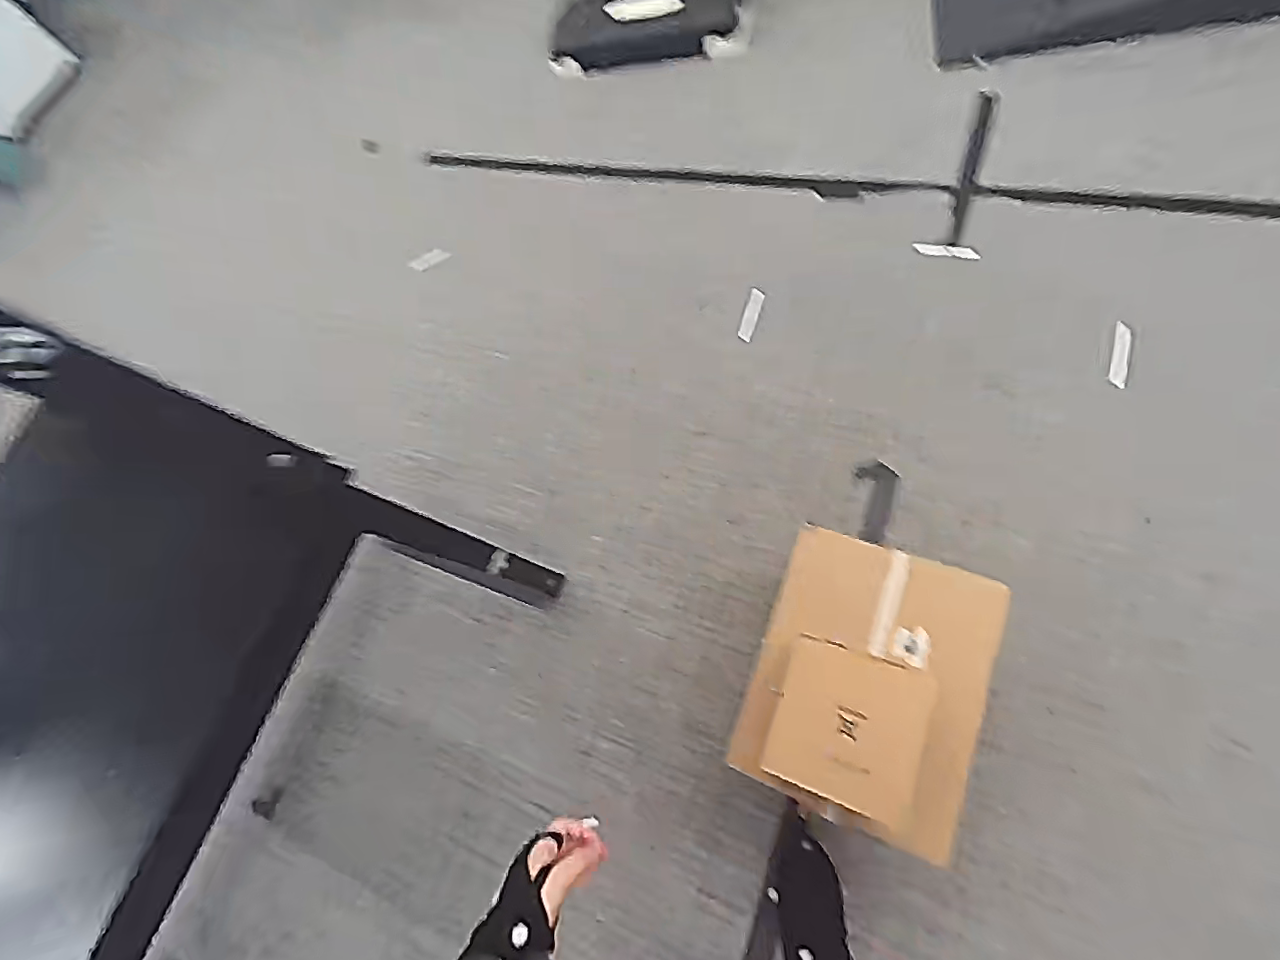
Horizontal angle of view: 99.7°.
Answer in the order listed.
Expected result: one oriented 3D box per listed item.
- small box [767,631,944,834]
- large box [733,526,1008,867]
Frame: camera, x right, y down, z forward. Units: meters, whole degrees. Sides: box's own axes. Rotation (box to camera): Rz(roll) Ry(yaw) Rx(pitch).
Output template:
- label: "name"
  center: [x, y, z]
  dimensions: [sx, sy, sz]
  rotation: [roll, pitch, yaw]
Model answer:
- label: "small box"
  center: [0.276, 0.319, 0.716]
  dimensions: [0.168, 0.176, 0.179]
  rotation: [16, 75, 22]
- label: "large box"
  center: [0.381, 0.349, 0.947]
  dimensions: [0.320, 0.320, 0.408]
  rotation: [18, 75, 19]
